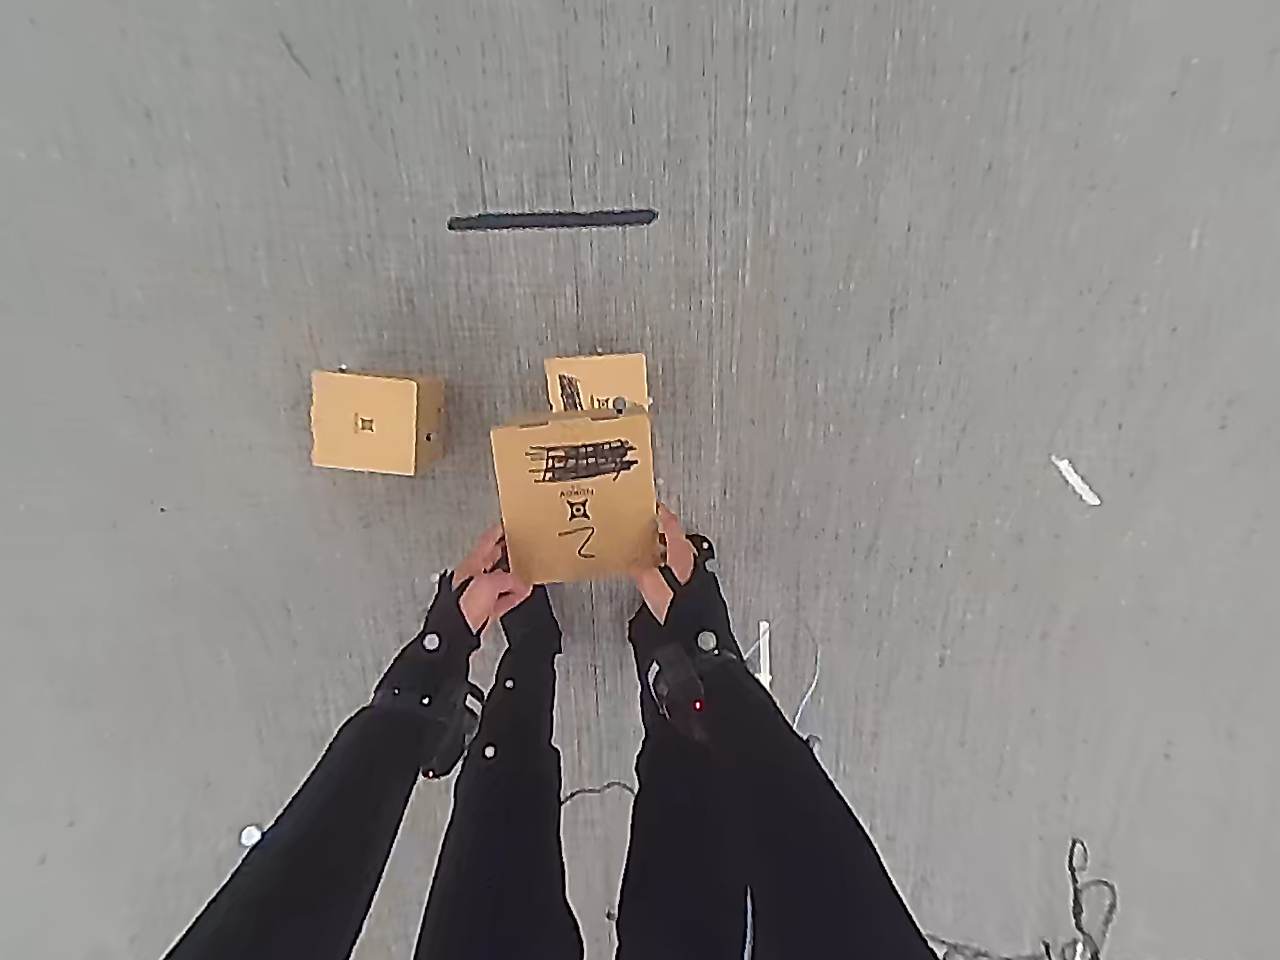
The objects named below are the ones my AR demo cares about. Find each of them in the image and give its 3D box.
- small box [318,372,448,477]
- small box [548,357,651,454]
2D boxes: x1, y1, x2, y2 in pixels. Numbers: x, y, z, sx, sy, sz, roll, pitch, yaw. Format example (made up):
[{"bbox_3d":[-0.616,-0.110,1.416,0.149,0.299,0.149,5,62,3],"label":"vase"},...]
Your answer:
[{"bbox_3d":[-0.468,-0.110,1.007,0.179,0.176,0.168,6,102,-3],"label":"small box"},{"bbox_3d":[-0.073,-0.143,1.021,0.179,0.176,0.168,-3,102,-3],"label":"small box"}]
